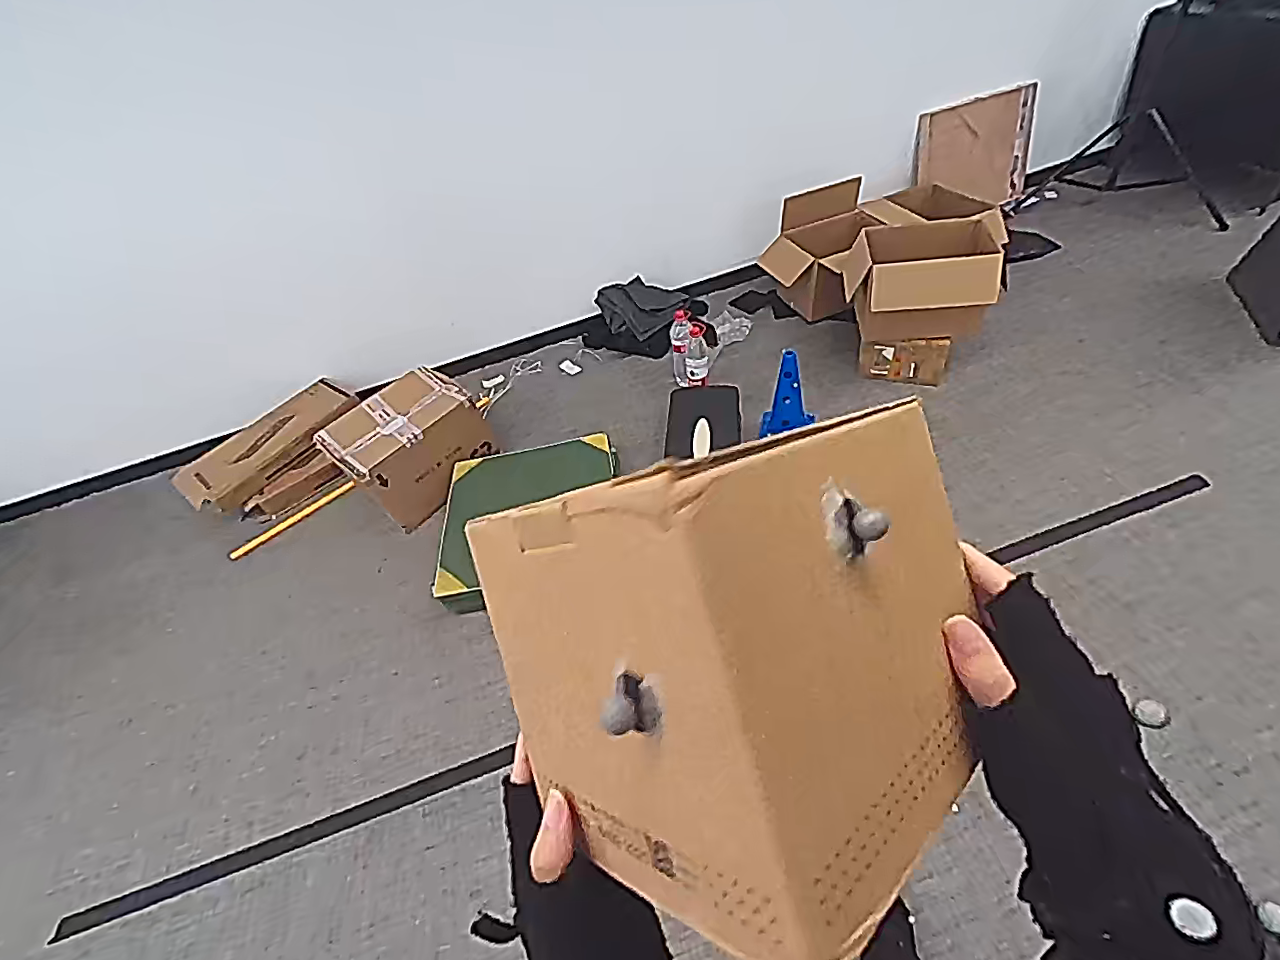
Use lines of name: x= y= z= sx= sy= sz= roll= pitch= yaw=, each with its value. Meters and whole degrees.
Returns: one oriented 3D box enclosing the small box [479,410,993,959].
small box: x=0.049 y=0.077 z=0.275 sx=0.179 sy=0.176 sz=0.168 roll=-15 pitch=0 yaw=-41
